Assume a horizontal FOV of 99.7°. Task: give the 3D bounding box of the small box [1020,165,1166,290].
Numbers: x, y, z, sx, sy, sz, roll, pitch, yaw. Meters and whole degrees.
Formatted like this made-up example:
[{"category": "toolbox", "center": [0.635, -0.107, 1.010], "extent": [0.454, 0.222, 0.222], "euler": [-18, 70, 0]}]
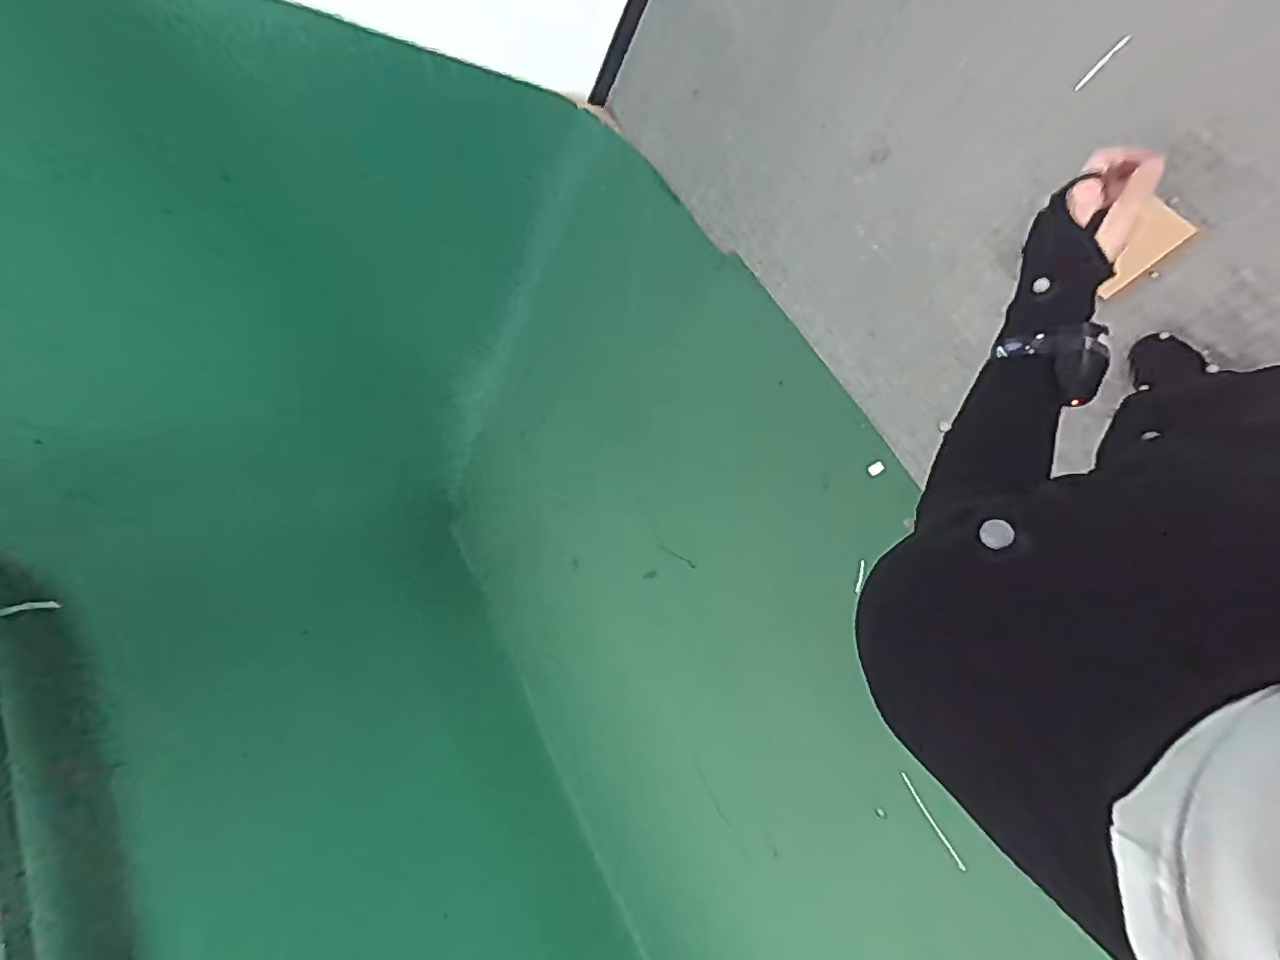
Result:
[{"category": "small box", "center": [0.962, -0.527, 1.145], "extent": [0.179, 0.176, 0.168], "euler": [58, 135, 17]}]
